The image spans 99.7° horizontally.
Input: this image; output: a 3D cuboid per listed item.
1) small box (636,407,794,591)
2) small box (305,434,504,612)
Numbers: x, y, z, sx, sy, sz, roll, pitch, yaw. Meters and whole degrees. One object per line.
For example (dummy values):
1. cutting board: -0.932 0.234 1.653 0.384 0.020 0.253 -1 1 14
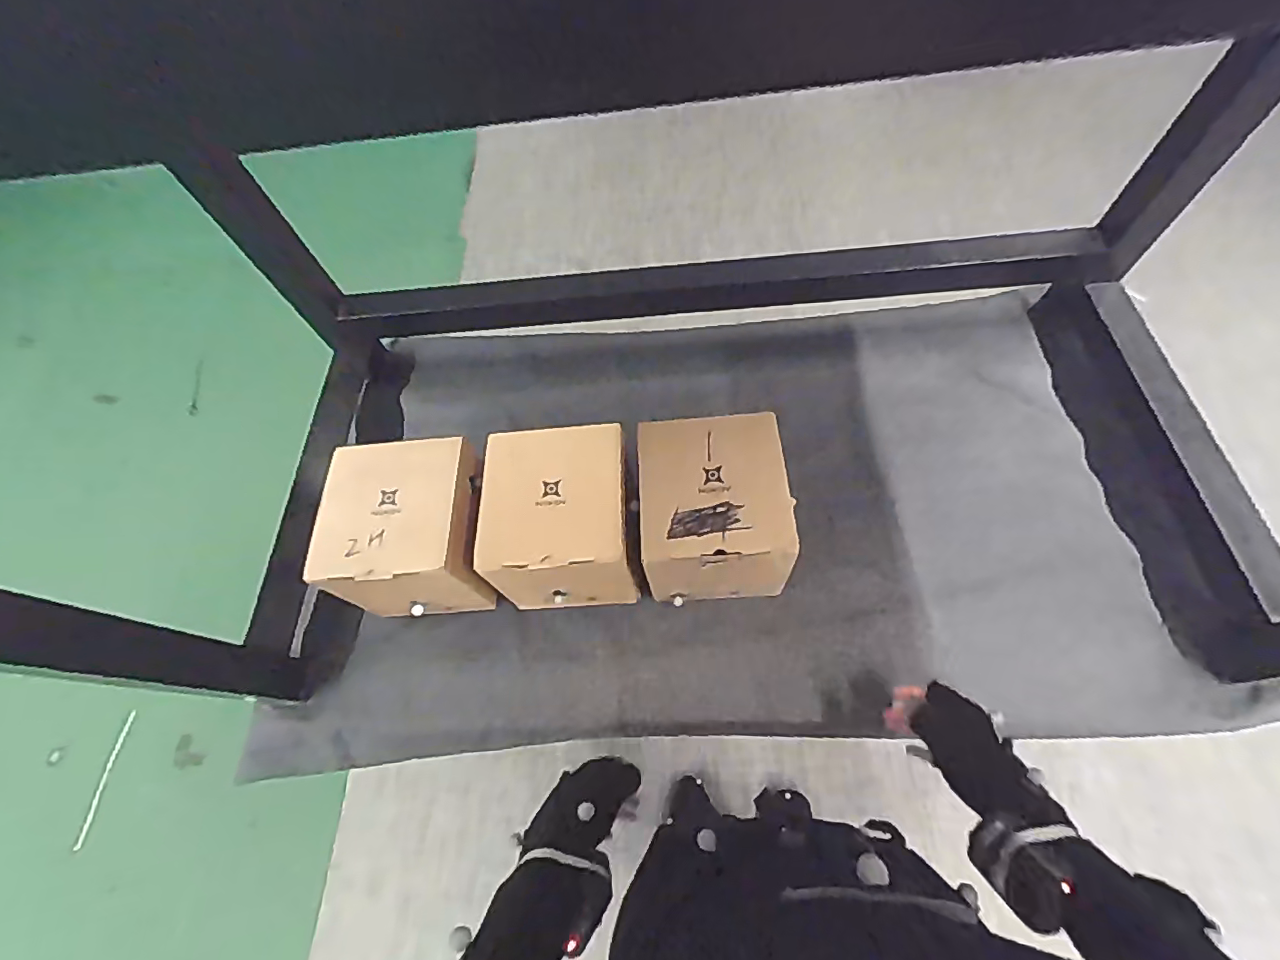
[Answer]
1. small box: 0.087 0.034 0.670 0.168 0.176 0.179 -5 62 5
2. small box: -0.285 0.061 0.701 0.168 0.176 0.179 -5 62 5
